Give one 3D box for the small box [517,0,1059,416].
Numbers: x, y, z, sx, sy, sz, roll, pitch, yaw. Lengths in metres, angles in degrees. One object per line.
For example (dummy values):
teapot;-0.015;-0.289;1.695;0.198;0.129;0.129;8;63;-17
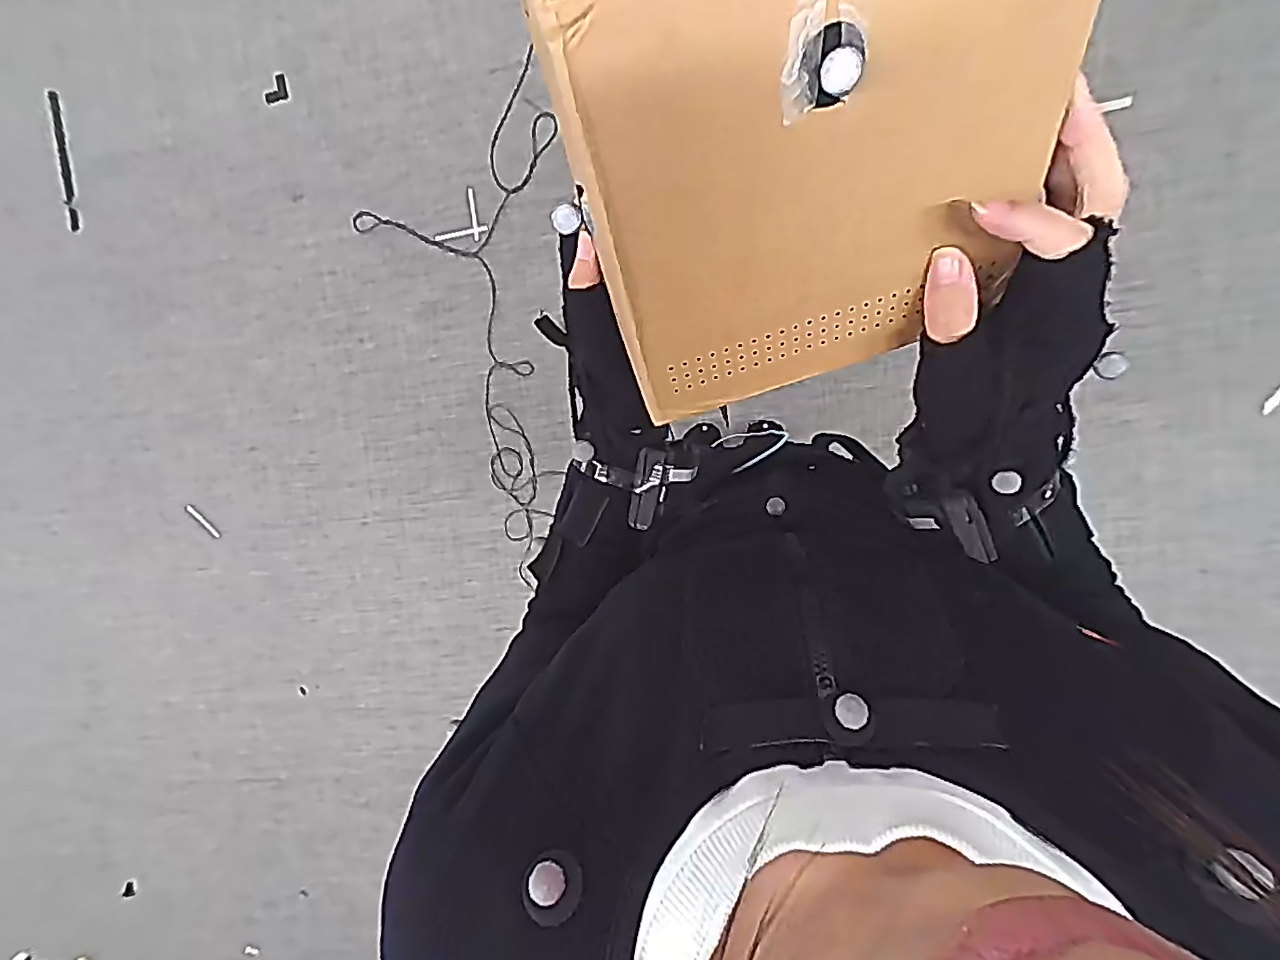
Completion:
small box;0.057;-0.156;0.260;0.179;0.168;0.176;-17;138;2
